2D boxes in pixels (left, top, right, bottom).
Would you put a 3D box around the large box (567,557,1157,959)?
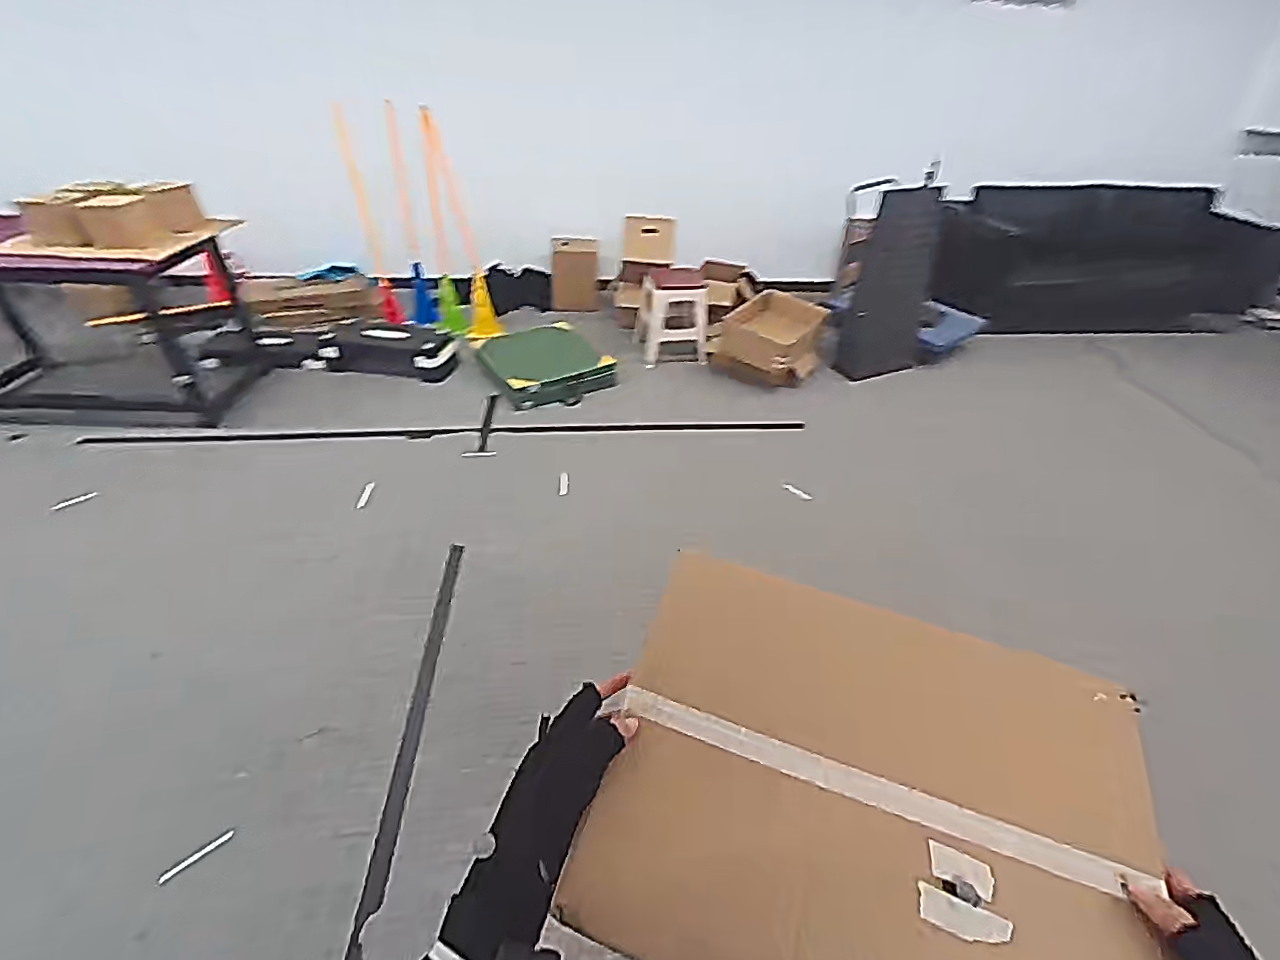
[{"bbox_3d":[0.180,0.331,0.554,0.408,0.320,0.320,16,55,13],"label":"large box"}]
